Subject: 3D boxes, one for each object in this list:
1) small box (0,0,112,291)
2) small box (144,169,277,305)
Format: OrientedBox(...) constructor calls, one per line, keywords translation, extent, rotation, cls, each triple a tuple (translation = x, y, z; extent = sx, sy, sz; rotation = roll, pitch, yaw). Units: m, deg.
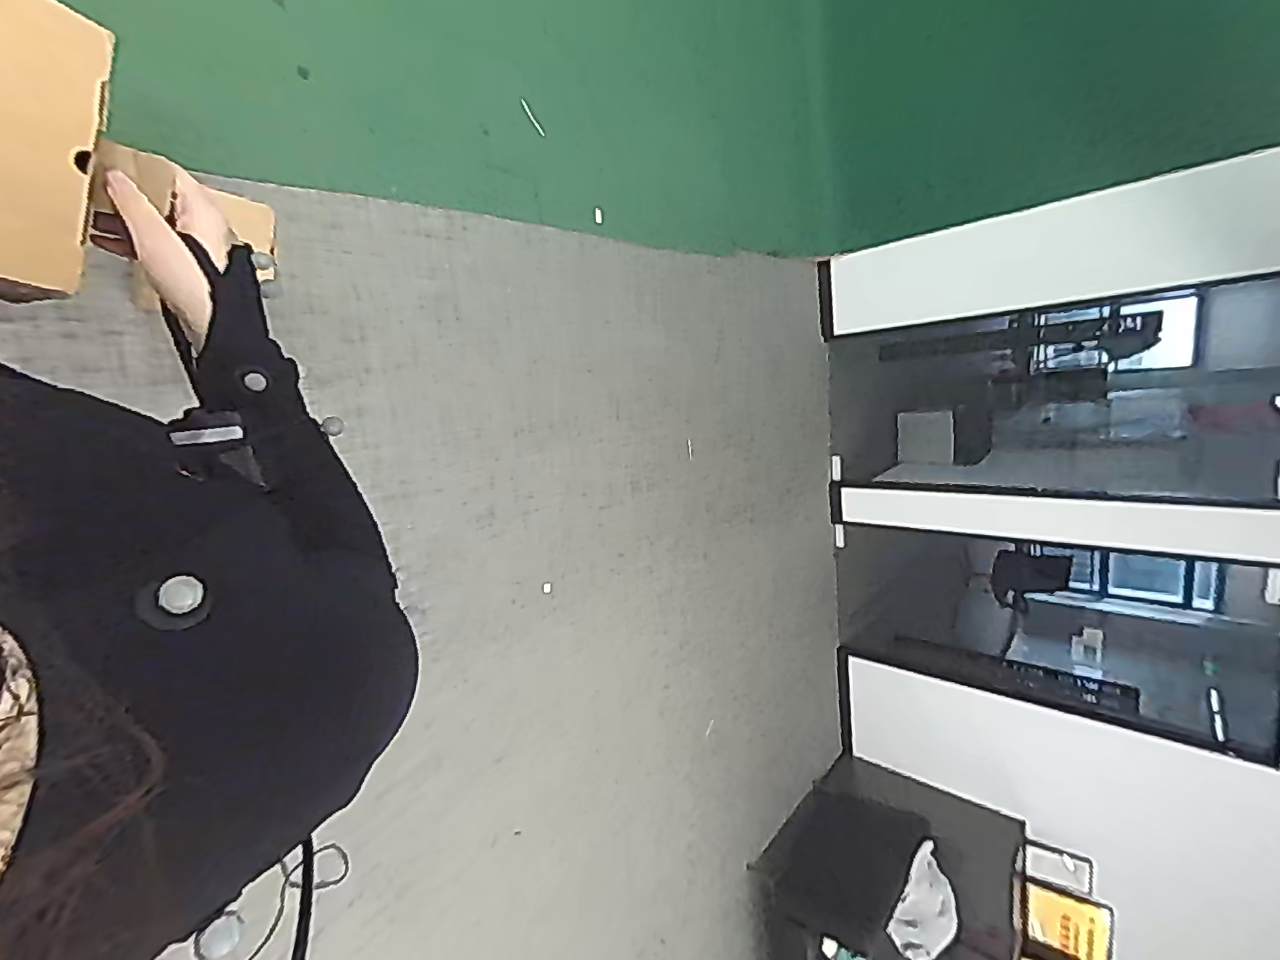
OrientedBox(translation=(-0.441, -0.209, 0.296), extent=(0.179, 0.176, 0.168), rotation=(5, 94, -59), cls="small box")
OrientedBox(translation=(-0.798, -0.433, 1.002), extent=(0.179, 0.176, 0.168), rotation=(-1, 94, -47), cls="small box")
